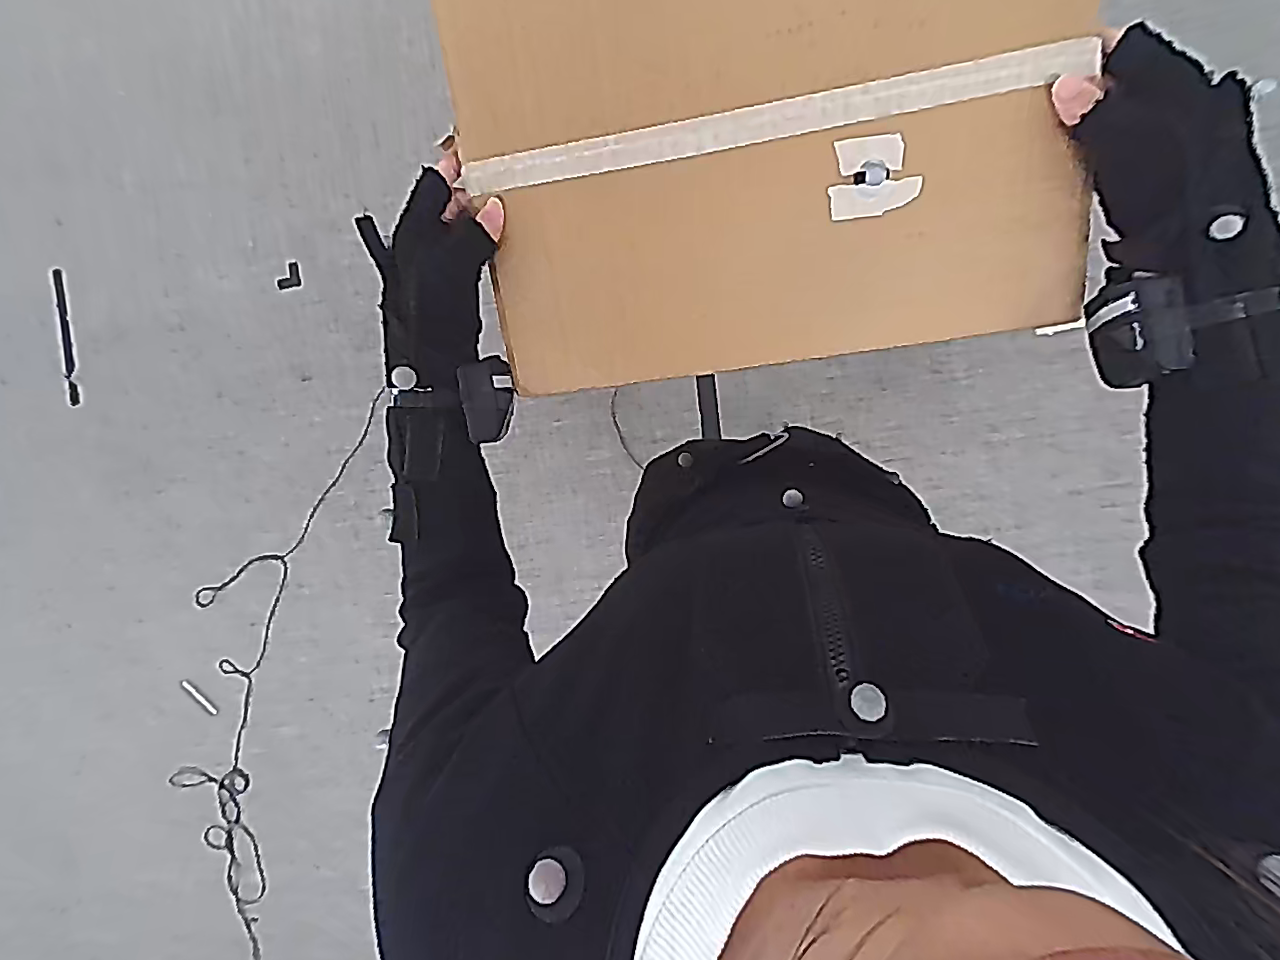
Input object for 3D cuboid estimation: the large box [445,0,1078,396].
[{"bbox_3d":[0.092,-0.279,0.513,0.408,0.320,0.320,-8,106,6],"label":"large box"}]
